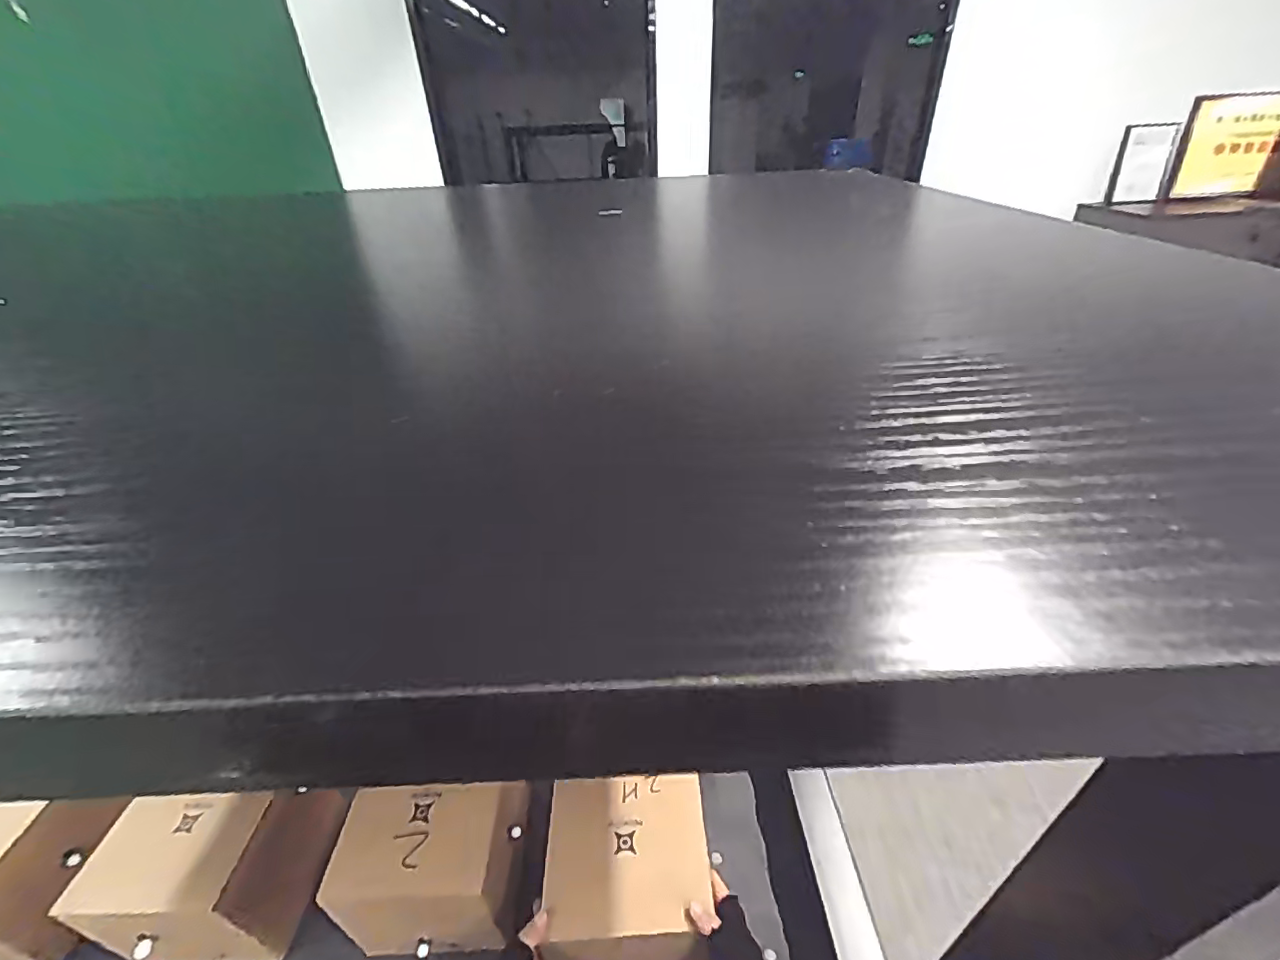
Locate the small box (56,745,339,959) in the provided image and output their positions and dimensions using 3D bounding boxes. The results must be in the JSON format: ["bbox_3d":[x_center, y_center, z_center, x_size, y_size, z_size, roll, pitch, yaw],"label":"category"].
[{"bbox_3d":[-0.495,0.447,0.646,0.168,0.176,0.179,-2,33,1],"label":"small box"}]

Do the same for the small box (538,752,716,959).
[{"bbox_3d":[-0.008,0.441,0.605,0.168,0.176,0.179,-5,30,1],"label":"small box"}]
